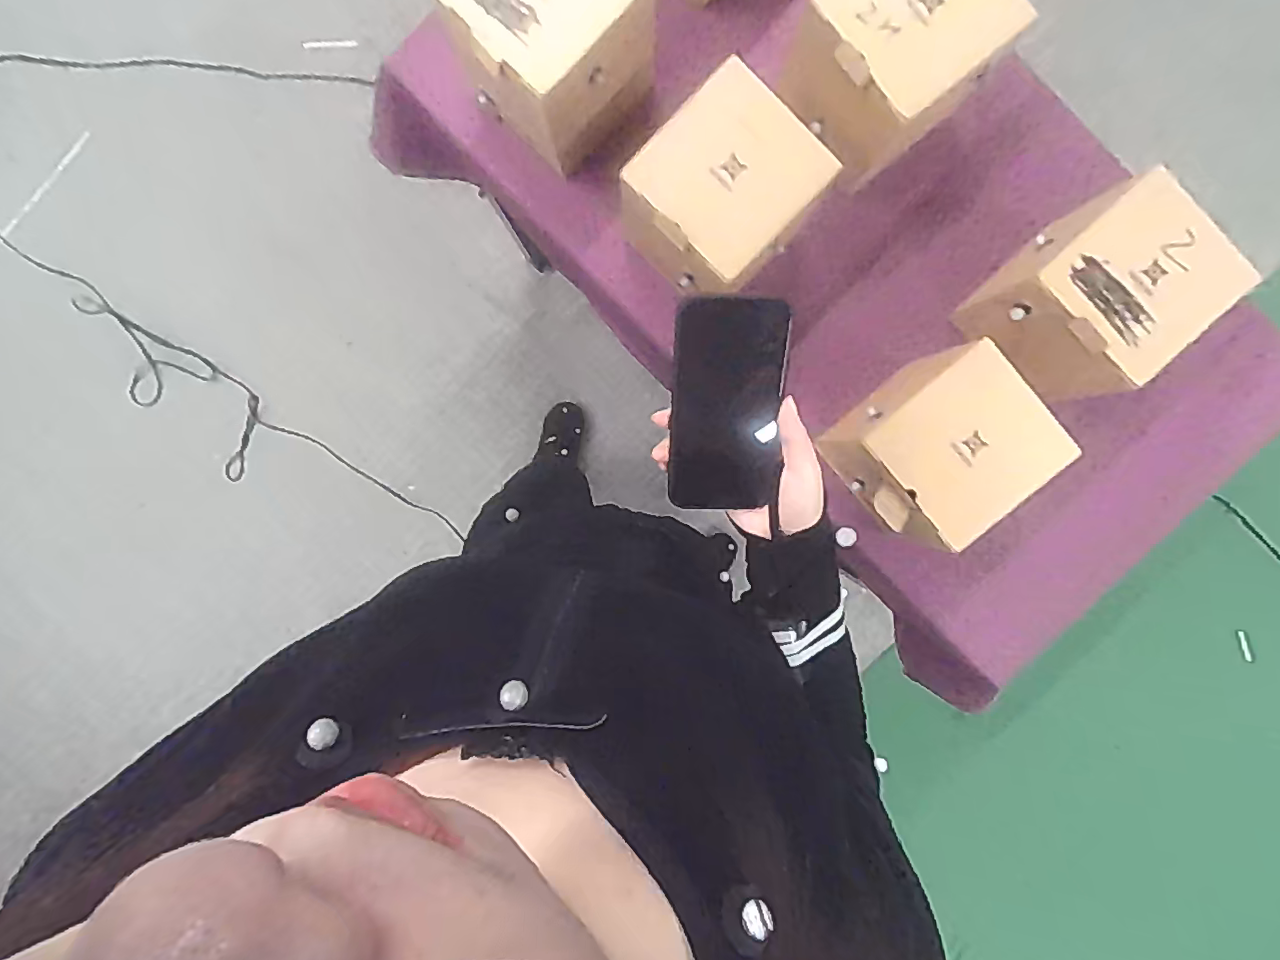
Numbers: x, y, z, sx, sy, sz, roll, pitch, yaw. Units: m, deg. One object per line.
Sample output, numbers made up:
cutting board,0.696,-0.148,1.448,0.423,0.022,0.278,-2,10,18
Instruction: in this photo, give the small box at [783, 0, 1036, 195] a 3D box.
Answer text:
small box,0.297,-0.488,0.639,0.179,0.176,0.168,-38,91,3

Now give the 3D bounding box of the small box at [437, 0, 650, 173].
small box,-0.099,-0.517,0.645,0.168,0.176,0.179,44,91,-2

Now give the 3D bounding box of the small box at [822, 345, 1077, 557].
small box,0.357,-0.035,0.663,0.179,0.176,0.168,-40,91,3

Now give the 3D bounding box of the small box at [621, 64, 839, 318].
small box,0.098,-0.326,0.653,0.179,0.176,0.168,-45,92,2
